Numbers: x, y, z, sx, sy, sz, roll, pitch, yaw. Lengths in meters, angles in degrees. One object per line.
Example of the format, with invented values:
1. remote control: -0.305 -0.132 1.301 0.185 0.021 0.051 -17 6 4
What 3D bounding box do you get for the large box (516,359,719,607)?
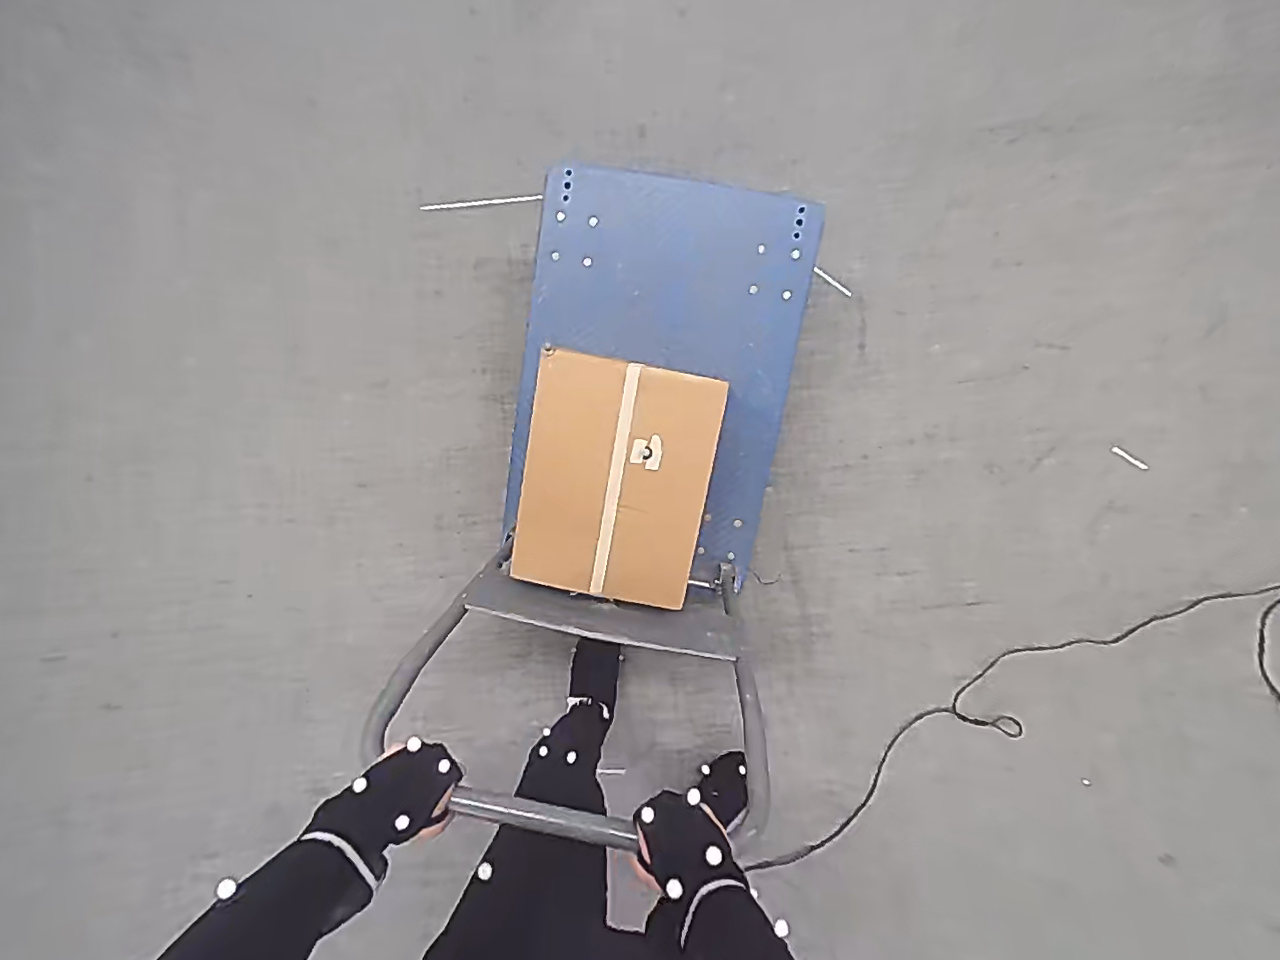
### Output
1. large box: -0.035 -0.010 1.086 0.320 0.320 0.408 10 100 2
